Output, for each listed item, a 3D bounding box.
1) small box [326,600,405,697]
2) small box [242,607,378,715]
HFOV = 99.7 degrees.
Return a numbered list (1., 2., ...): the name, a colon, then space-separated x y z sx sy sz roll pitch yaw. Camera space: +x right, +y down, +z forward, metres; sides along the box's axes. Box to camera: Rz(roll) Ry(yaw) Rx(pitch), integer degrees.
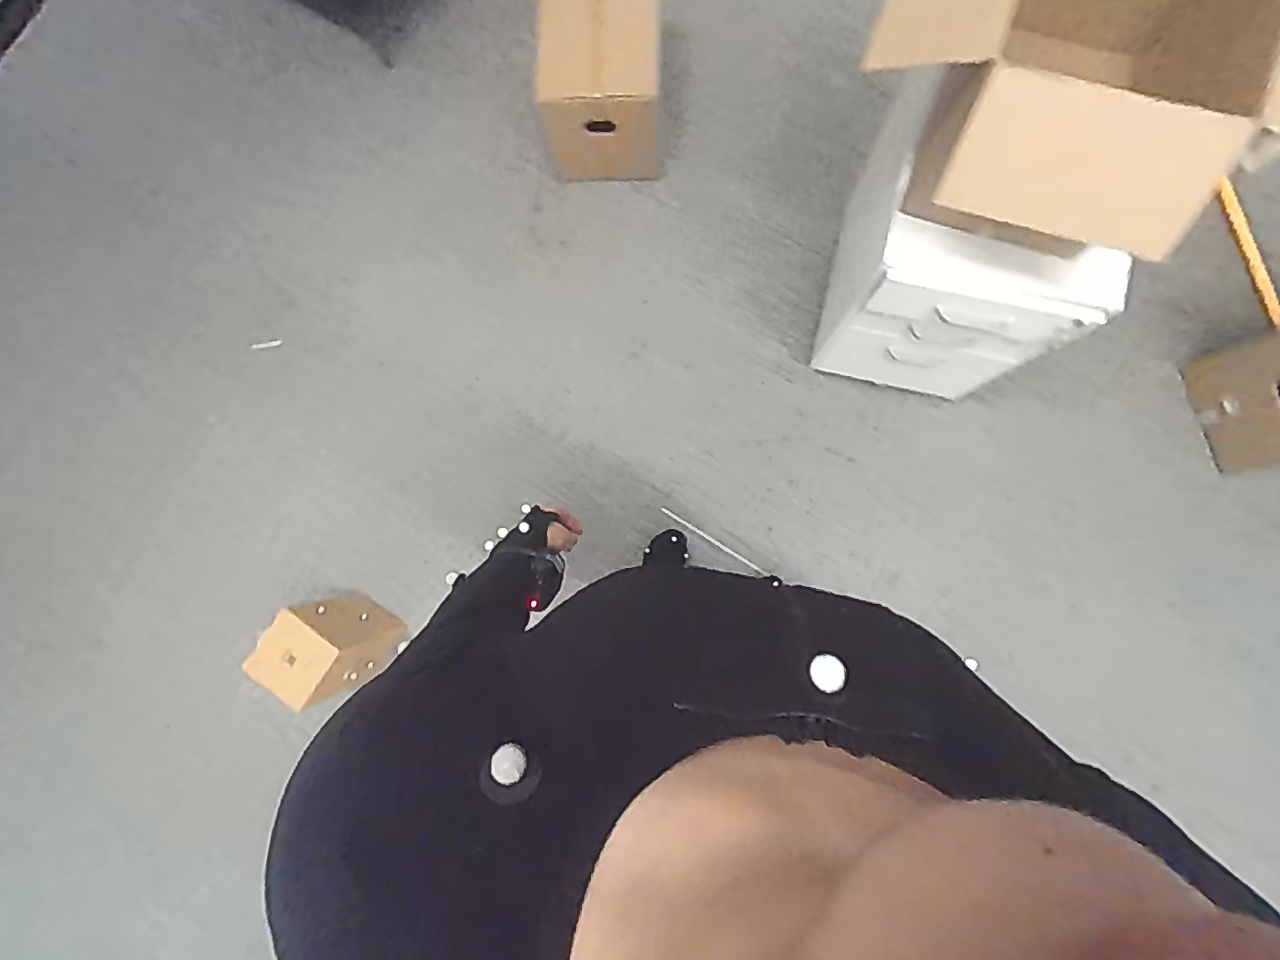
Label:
1. small box: -0.771 0.442 1.446 0.168 0.176 0.179 33 86 8
2. small box: -0.773 0.418 1.285 0.179 0.176 0.168 33 86 8
